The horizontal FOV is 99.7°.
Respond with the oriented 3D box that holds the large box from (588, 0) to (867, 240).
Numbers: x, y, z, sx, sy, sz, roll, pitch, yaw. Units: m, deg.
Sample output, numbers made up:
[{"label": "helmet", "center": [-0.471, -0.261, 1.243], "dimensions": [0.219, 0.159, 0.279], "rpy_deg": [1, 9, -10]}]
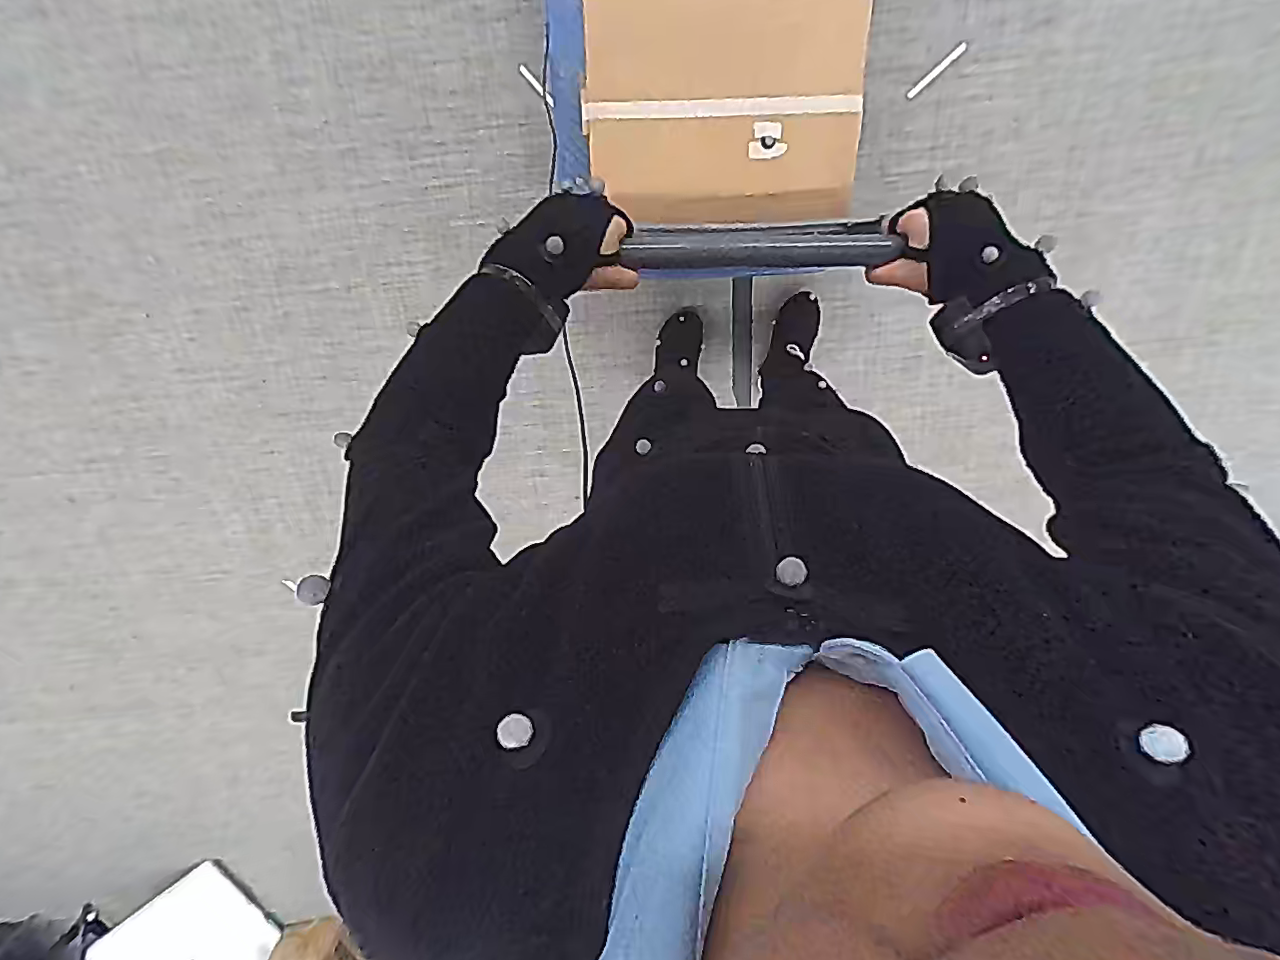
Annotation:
[{"label": "large box", "center": [0.129, -0.607, 0.954], "dimensions": [0.408, 0.320, 0.320], "rpy_deg": [-2, 112, 1]}]
